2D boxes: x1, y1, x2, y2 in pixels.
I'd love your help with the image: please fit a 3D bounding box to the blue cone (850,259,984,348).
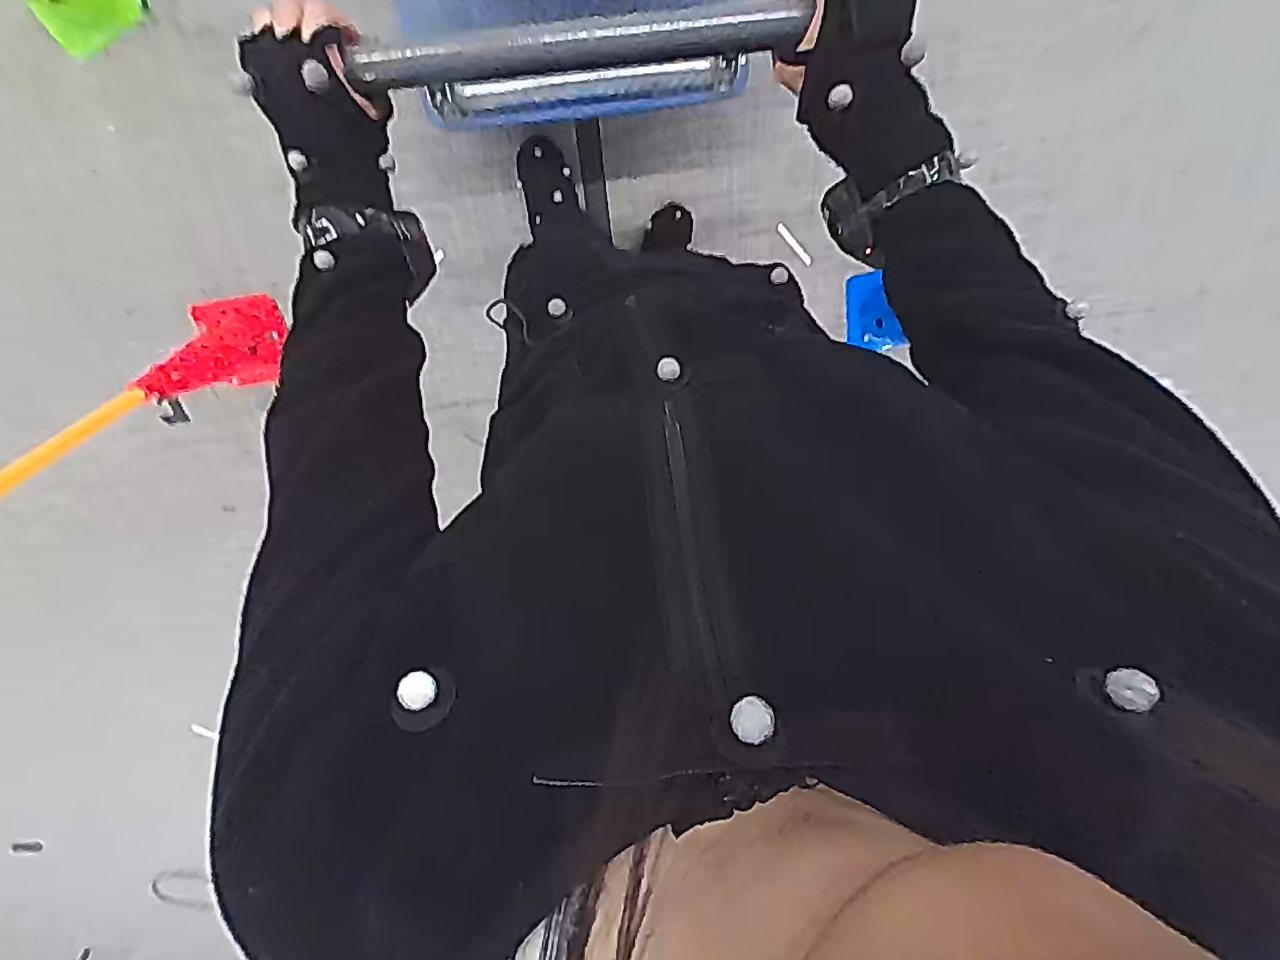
[{"bbox_3d":[0.622,-0.352,1.185,0.193,0.380,0.192,-11,118,2],"label":"blue cone"}]
